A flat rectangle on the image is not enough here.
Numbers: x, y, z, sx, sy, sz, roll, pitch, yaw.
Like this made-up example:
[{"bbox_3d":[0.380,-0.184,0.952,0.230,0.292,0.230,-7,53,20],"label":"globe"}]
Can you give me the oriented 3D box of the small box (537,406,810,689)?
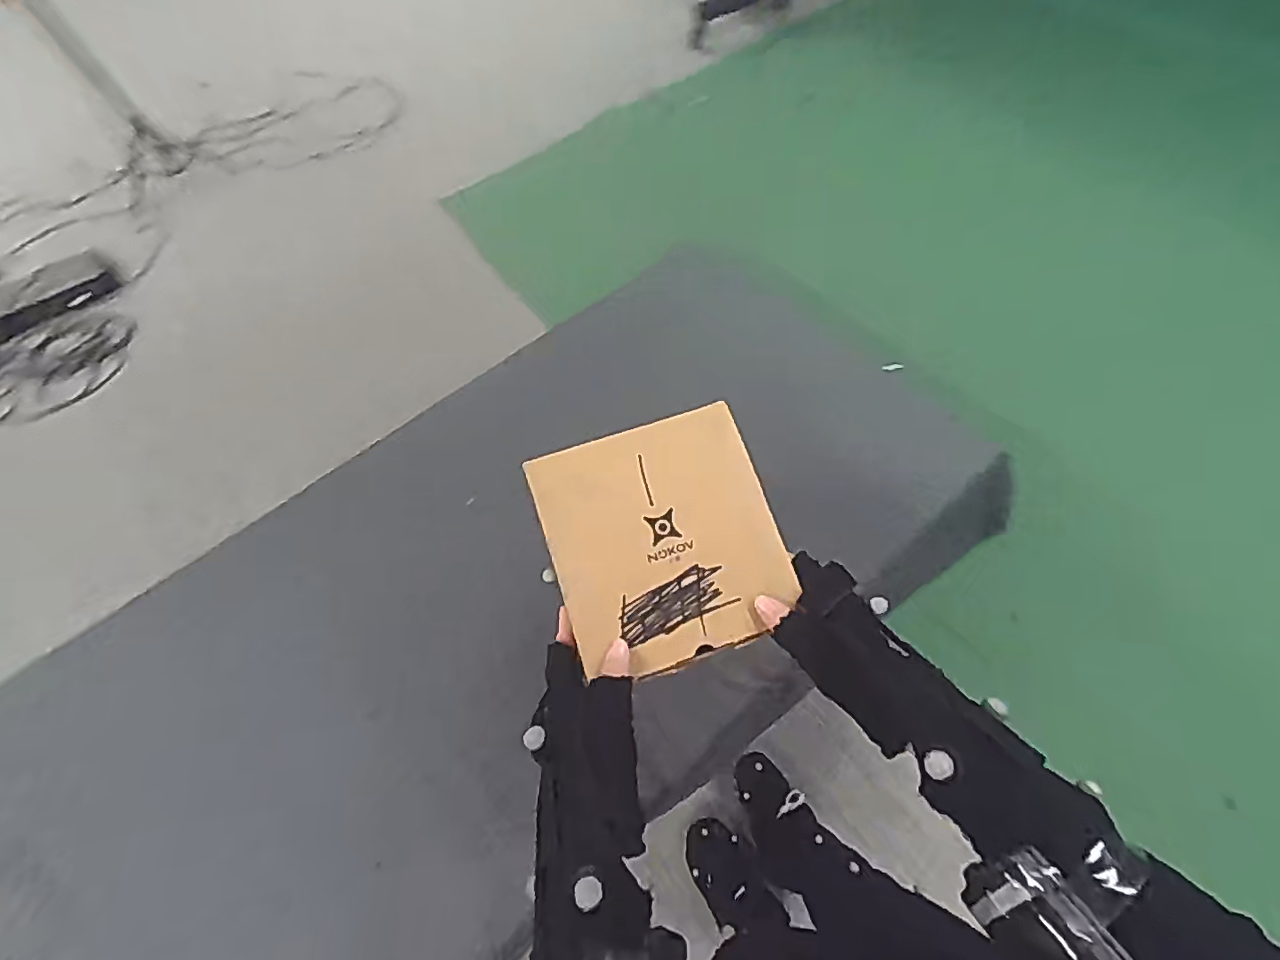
[{"bbox_3d":[0.019,0.061,0.476,0.168,0.176,0.179,-16,78,-8],"label":"small box"}]
